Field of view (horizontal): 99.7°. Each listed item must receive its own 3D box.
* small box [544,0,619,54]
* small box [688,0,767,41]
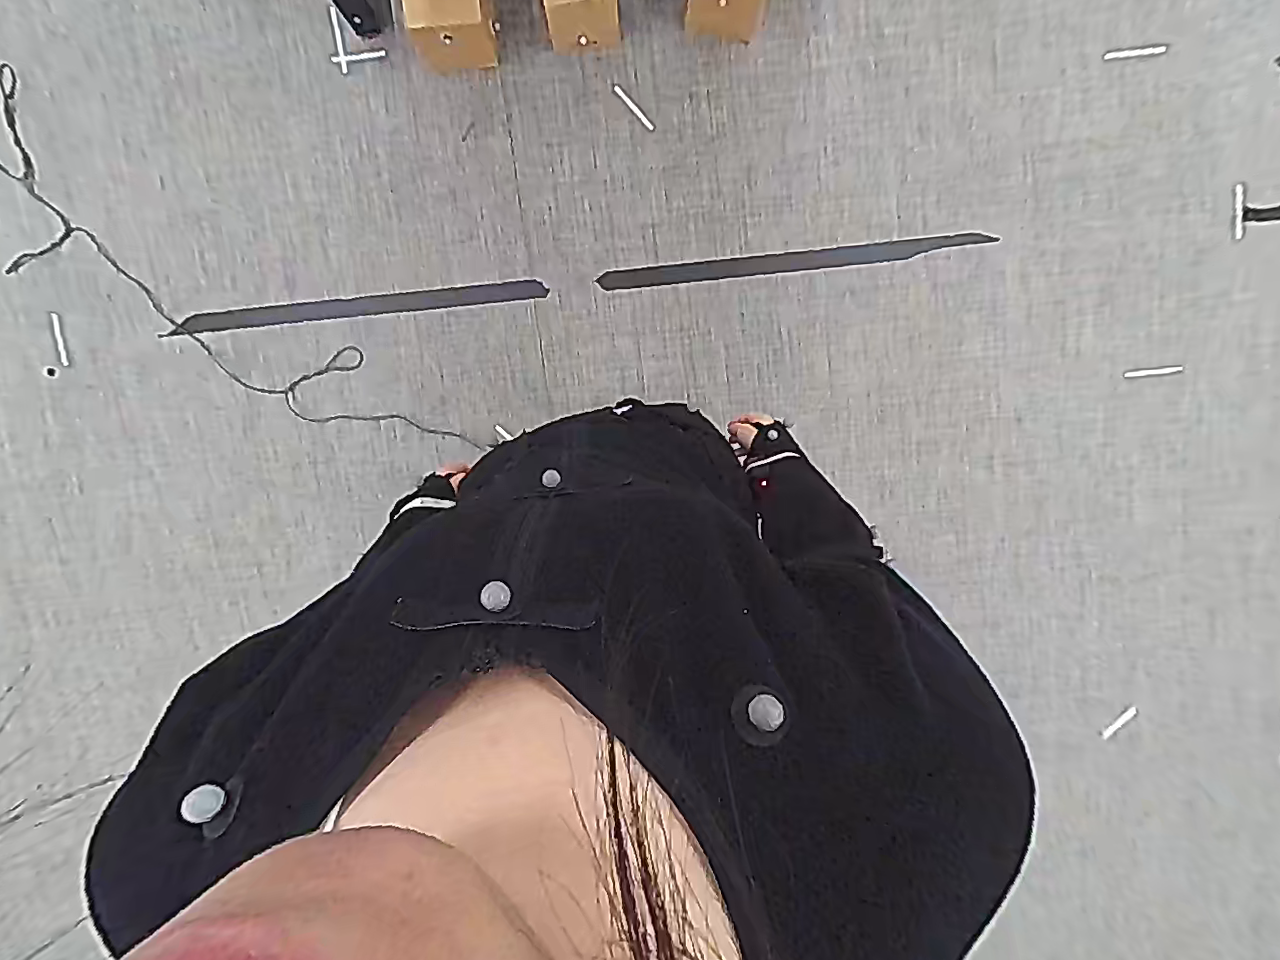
[{"bbox_3d":[-0.140,-1.149,1.261,0.168,0.176,0.179,-8,98,1],"label":"small box"},{"bbox_3d":[0.216,-1.175,1.261,0.179,0.176,0.168,10,98,0],"label":"small box"}]
